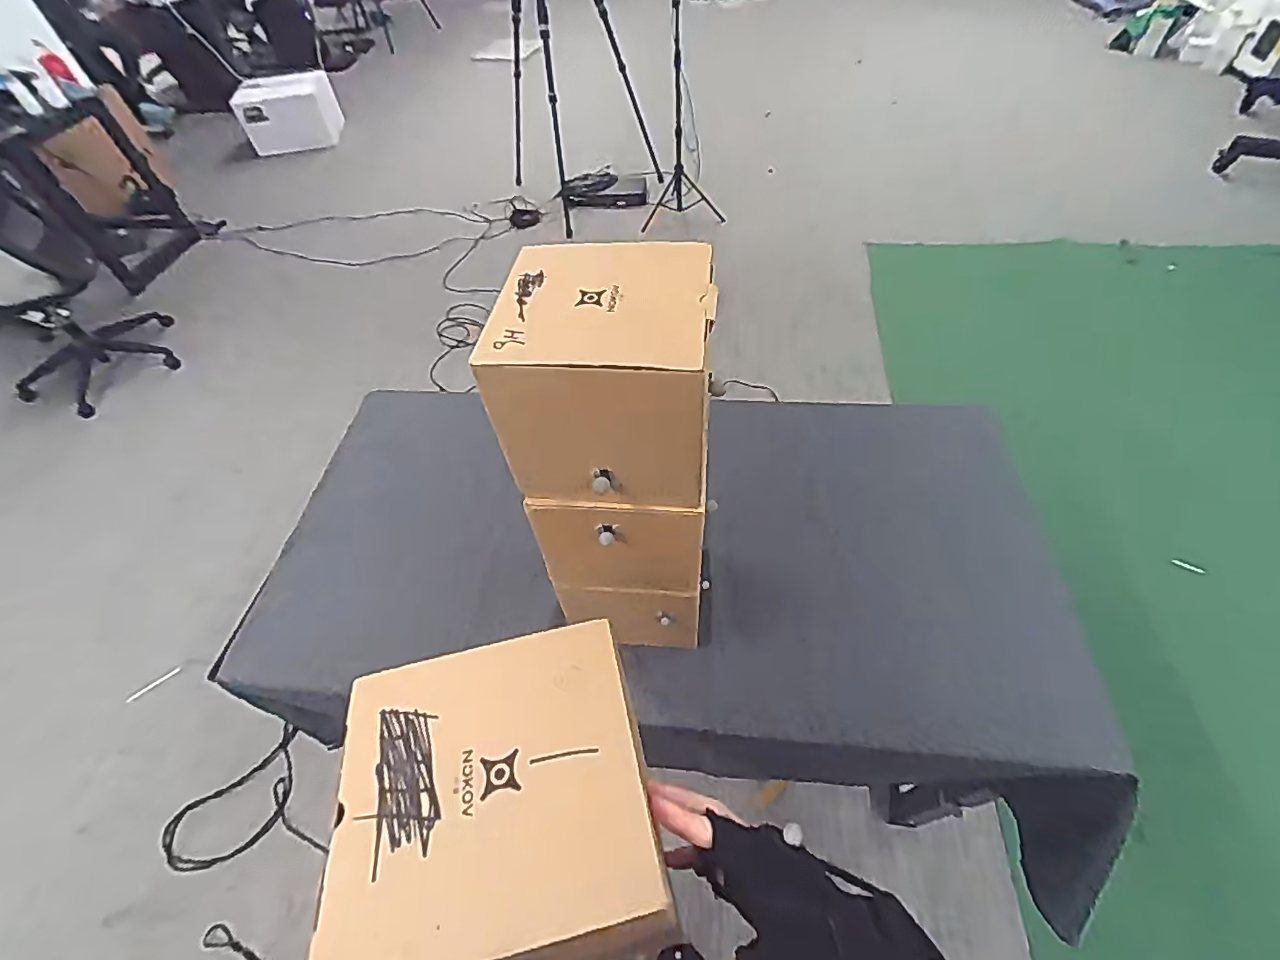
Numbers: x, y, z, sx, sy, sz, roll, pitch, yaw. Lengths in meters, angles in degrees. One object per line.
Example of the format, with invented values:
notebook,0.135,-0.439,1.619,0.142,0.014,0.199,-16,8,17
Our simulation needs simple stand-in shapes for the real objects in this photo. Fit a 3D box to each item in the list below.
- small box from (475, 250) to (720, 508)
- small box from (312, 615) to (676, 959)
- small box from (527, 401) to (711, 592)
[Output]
small box,-0.023,-0.089,0.501,0.179,0.176,0.168,4,52,7
small box,-0.081,0.224,0.372,0.179,0.176,0.168,-12,45,-5
small box,-0.011,0.018,0.625,0.179,0.176,0.168,2,52,6
